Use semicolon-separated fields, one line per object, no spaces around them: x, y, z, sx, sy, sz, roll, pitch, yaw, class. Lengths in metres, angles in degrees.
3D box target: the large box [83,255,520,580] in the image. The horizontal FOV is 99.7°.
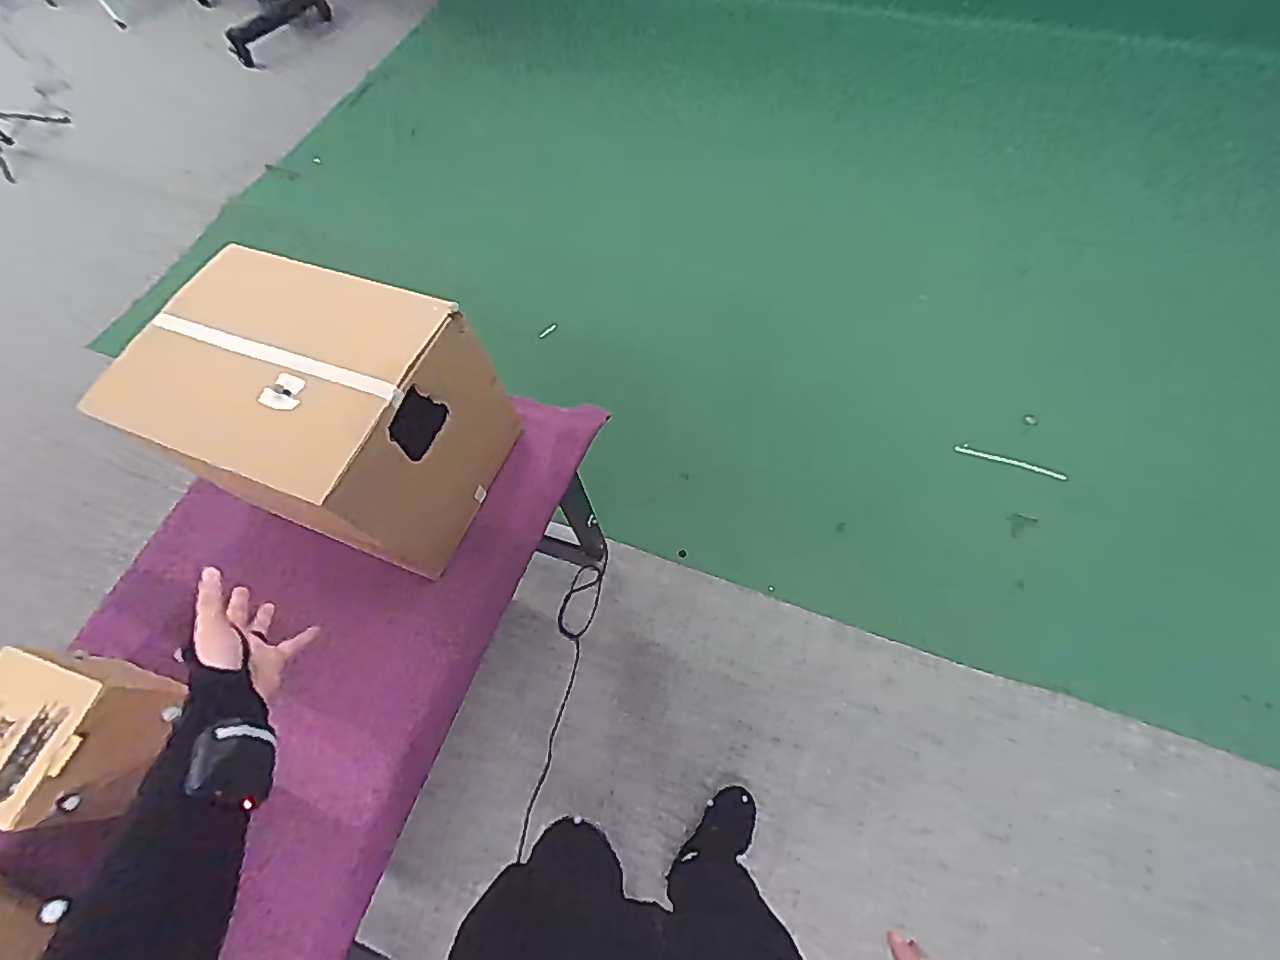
-0.460;-0.085;0.833;0.408;0.320;0.320;18;67;12;large box
